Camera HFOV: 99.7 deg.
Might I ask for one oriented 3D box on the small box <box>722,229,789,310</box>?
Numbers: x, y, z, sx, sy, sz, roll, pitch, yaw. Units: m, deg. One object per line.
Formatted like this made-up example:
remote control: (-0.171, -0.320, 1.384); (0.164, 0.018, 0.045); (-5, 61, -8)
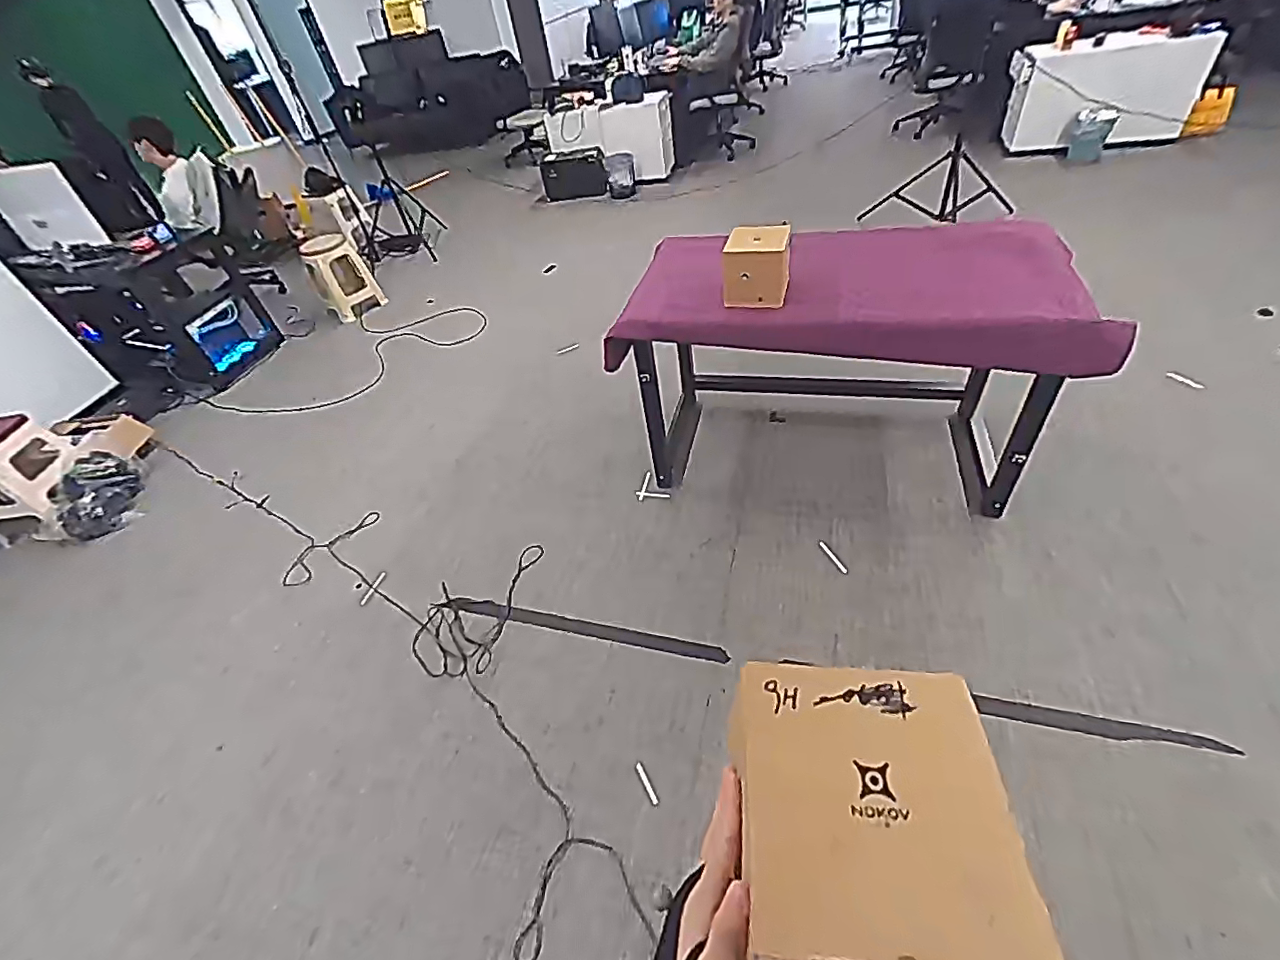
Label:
small box: (0.337, -0.606, 1.567); (0.168, 0.176, 0.179); (6, 46, 17)

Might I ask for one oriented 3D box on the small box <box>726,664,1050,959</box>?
small box: (0.155, 0.264, 0.412); (0.168, 0.176, 0.179); (2, 45, 5)
